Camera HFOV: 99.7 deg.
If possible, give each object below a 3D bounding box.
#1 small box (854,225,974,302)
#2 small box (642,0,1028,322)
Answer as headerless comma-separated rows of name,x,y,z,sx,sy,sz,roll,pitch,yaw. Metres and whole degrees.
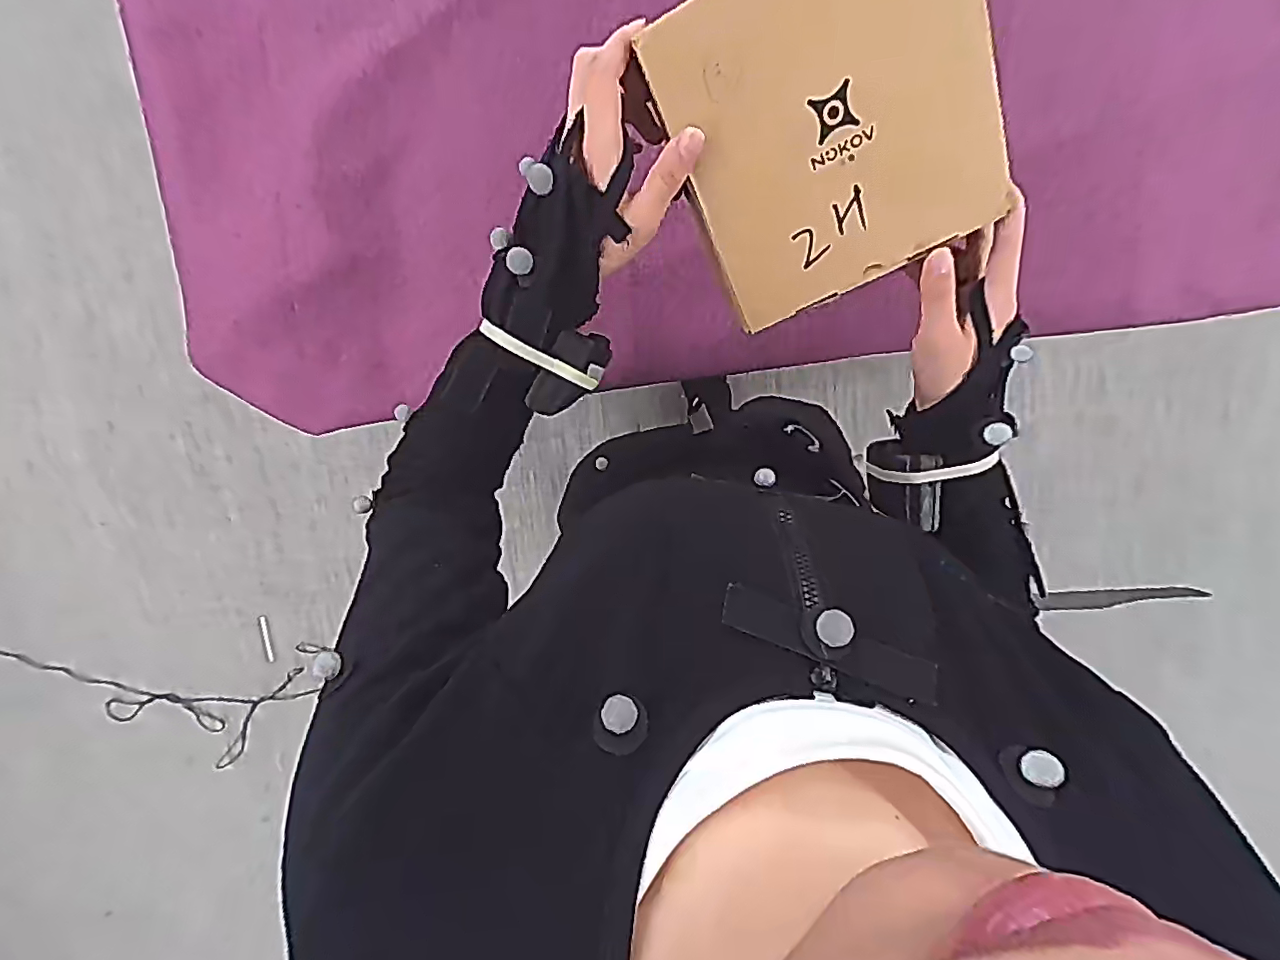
small box,0.526,-0.450,1.059,0.168,0.176,0.179,-4,100,5
small box,0.110,-0.235,0.355,0.168,0.176,0.179,-23,118,15
